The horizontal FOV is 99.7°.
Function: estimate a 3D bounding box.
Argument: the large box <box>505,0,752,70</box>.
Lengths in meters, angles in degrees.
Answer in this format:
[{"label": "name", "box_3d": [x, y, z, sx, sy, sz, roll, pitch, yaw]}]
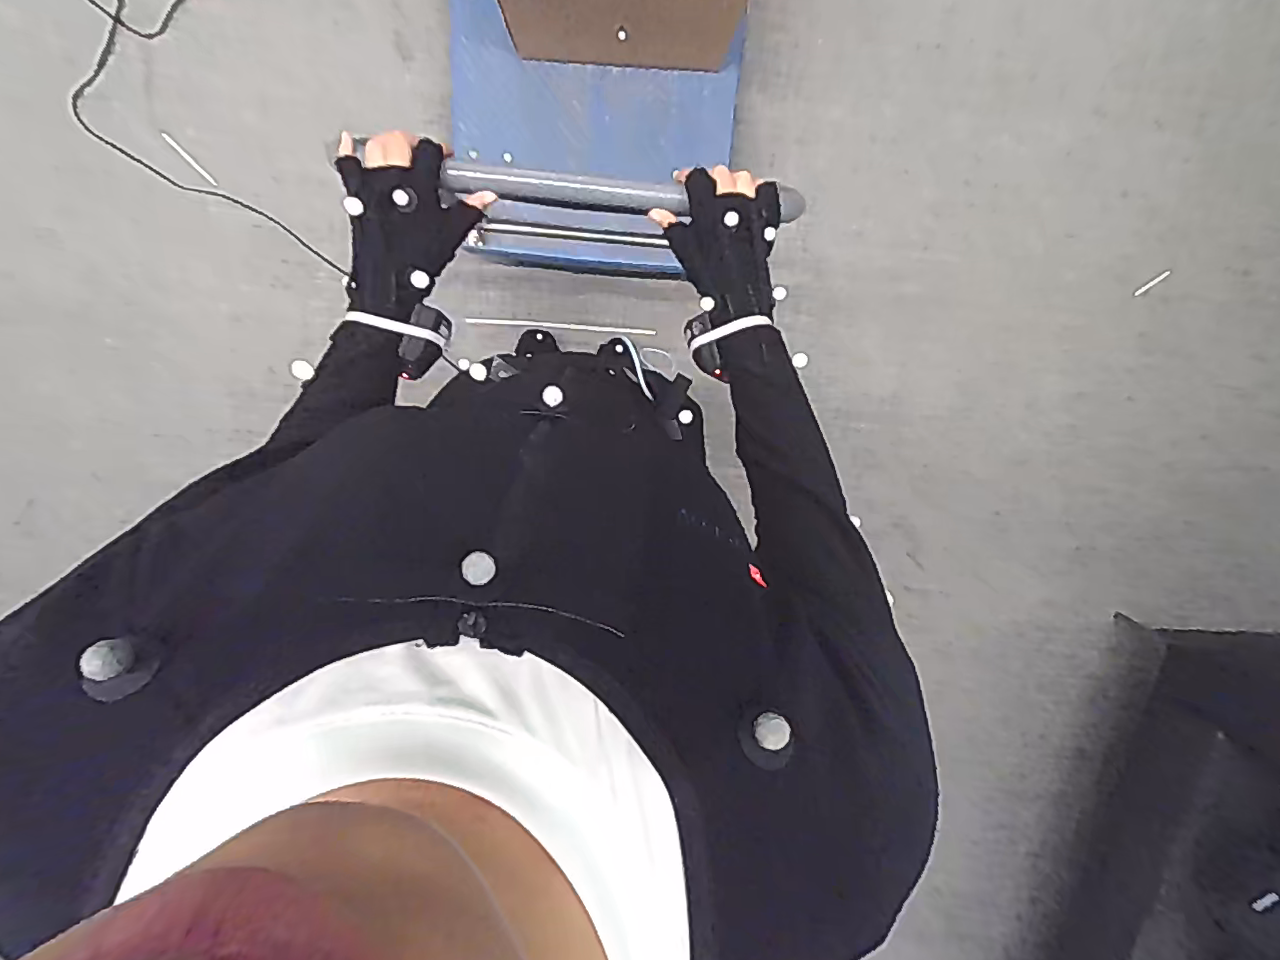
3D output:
[{"label": "large box", "box_3d": [-0.020, -0.936, 0.905, 0.408, 0.320, 0.320, 1, 105, -3]}]
